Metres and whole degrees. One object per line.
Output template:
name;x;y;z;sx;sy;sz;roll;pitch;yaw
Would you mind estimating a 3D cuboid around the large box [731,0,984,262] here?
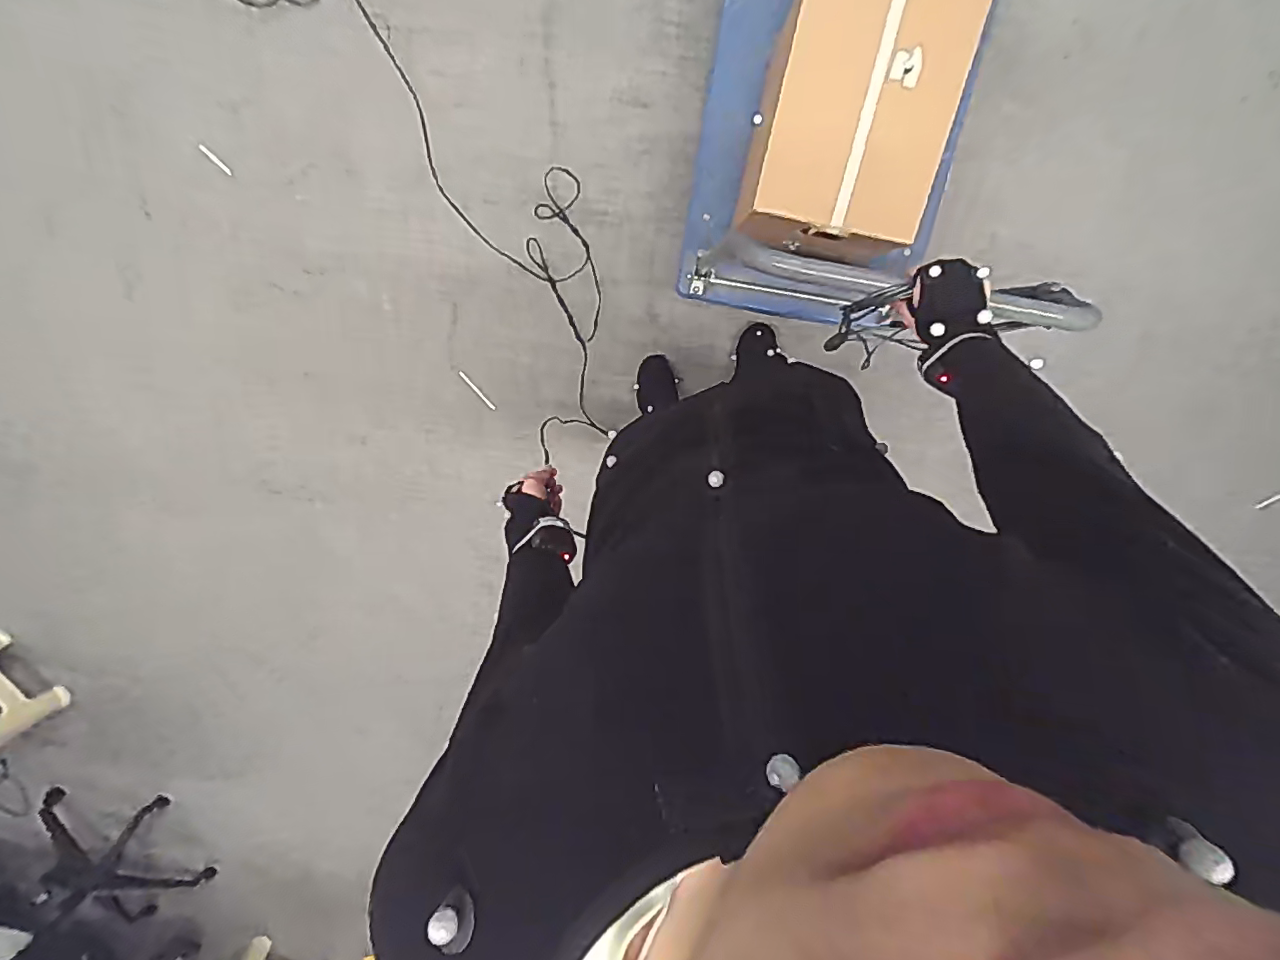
large box;0.393;-0.690;1.090;0.320;0.320;0.408;11;106;-3
